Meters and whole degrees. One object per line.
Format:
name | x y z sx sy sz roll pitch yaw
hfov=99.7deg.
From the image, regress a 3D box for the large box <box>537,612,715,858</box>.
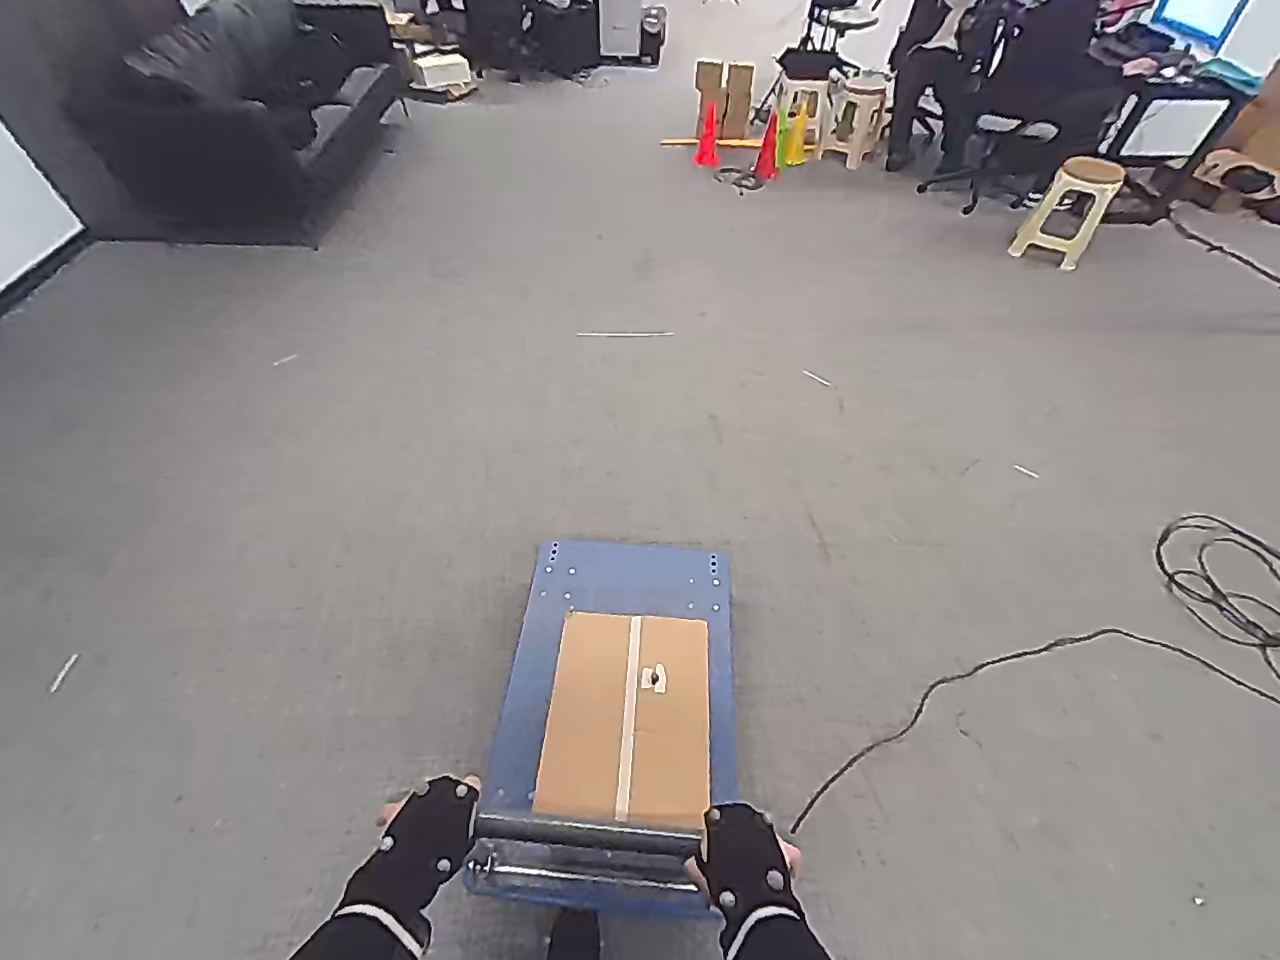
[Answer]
large box | -0.017 0.544 1.158 0.320 0.320 0.408 4 49 1
